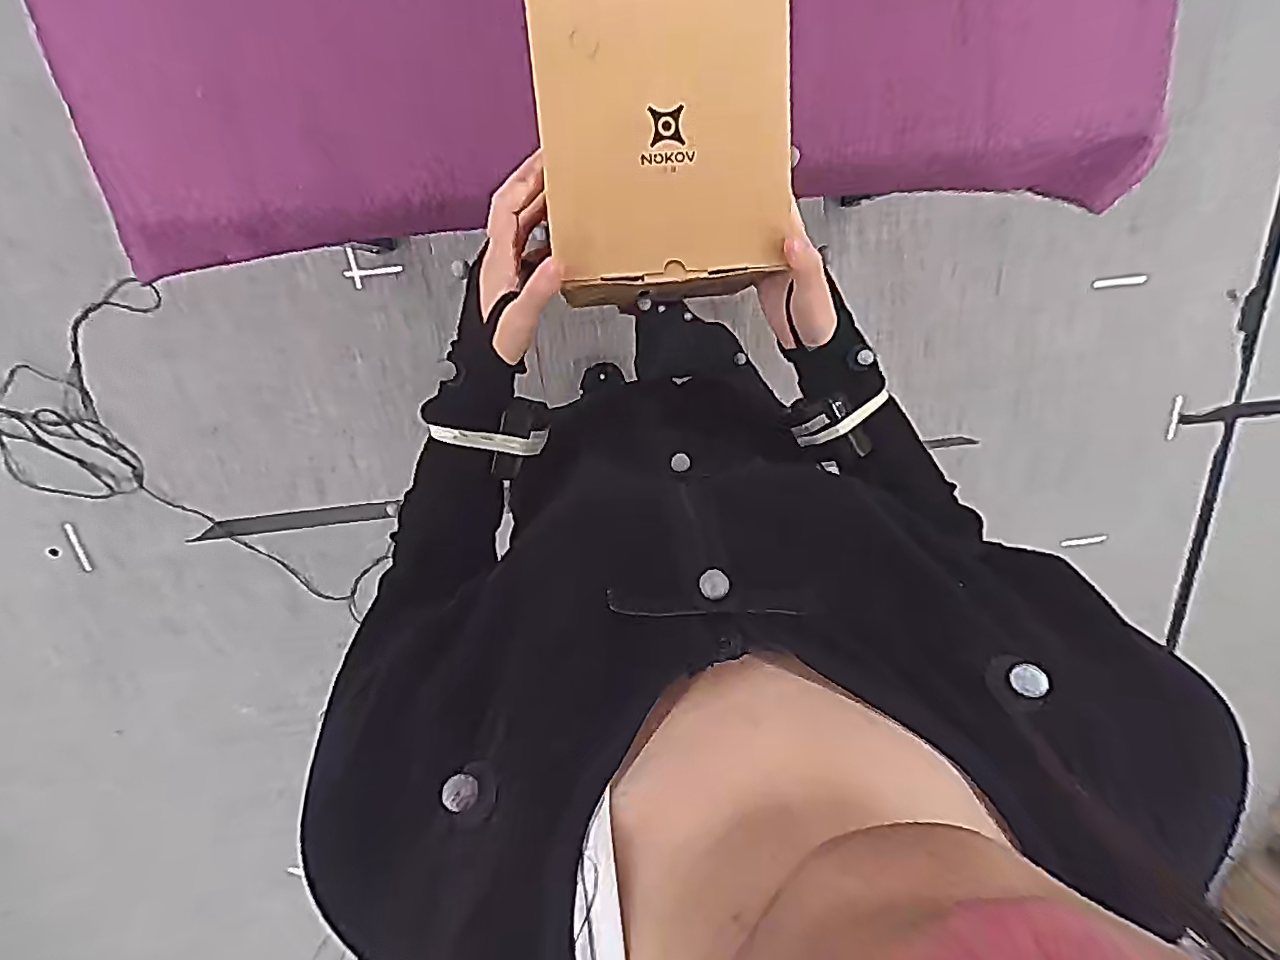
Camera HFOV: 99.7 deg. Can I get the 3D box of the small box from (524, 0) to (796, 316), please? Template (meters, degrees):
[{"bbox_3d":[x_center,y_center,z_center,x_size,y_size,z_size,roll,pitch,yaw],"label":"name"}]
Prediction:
[{"bbox_3d":[0.008,-0.234,0.425,0.168,0.176,0.179,-8,103,-5],"label":"small box"}]
